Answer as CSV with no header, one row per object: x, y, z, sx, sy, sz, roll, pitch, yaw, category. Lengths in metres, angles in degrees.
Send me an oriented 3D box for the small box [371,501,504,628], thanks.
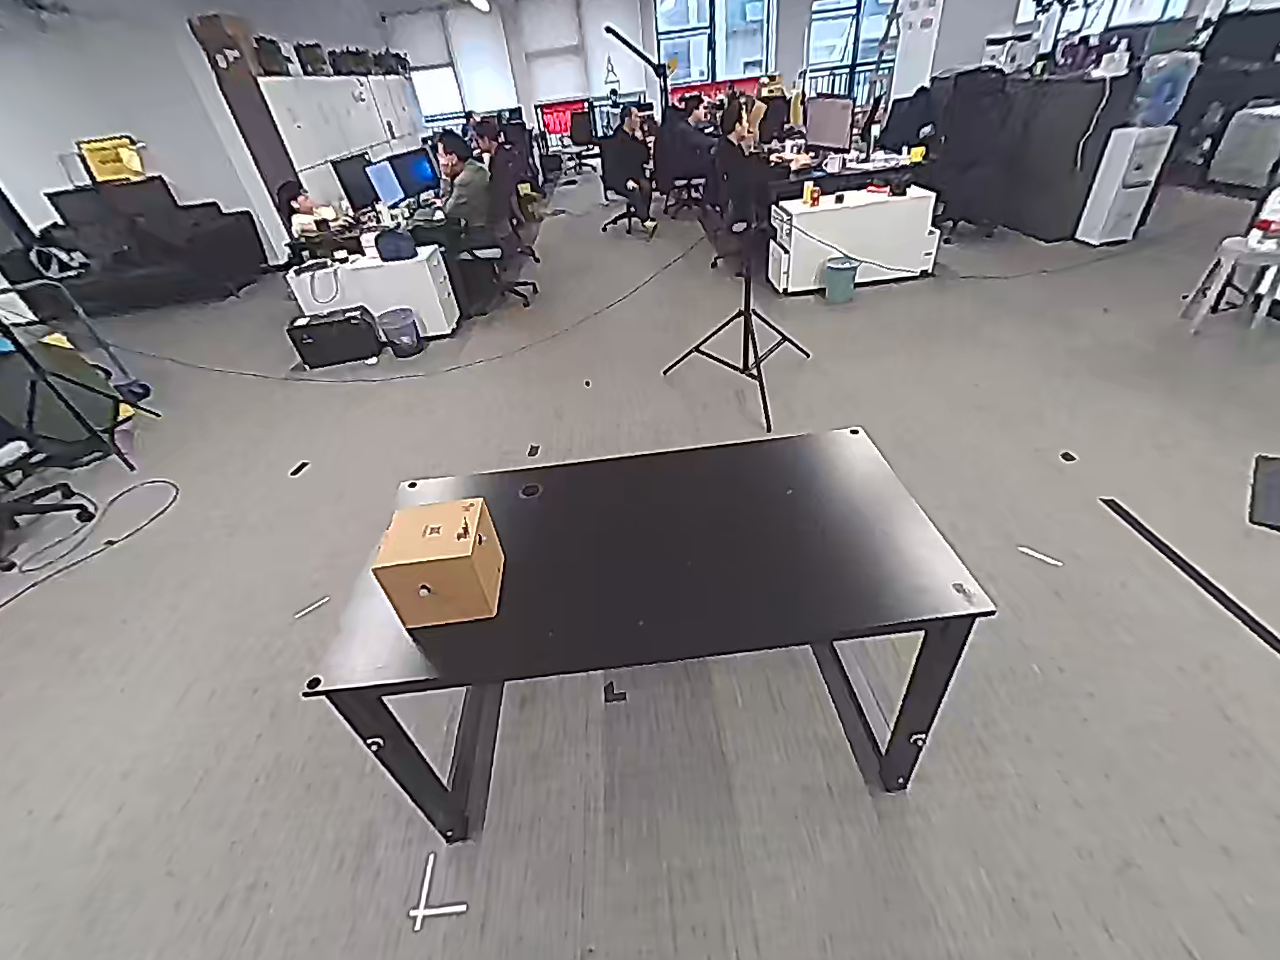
-0.378,0.165,1.045,0.179,0.176,0.168,-9,37,-1,small box
